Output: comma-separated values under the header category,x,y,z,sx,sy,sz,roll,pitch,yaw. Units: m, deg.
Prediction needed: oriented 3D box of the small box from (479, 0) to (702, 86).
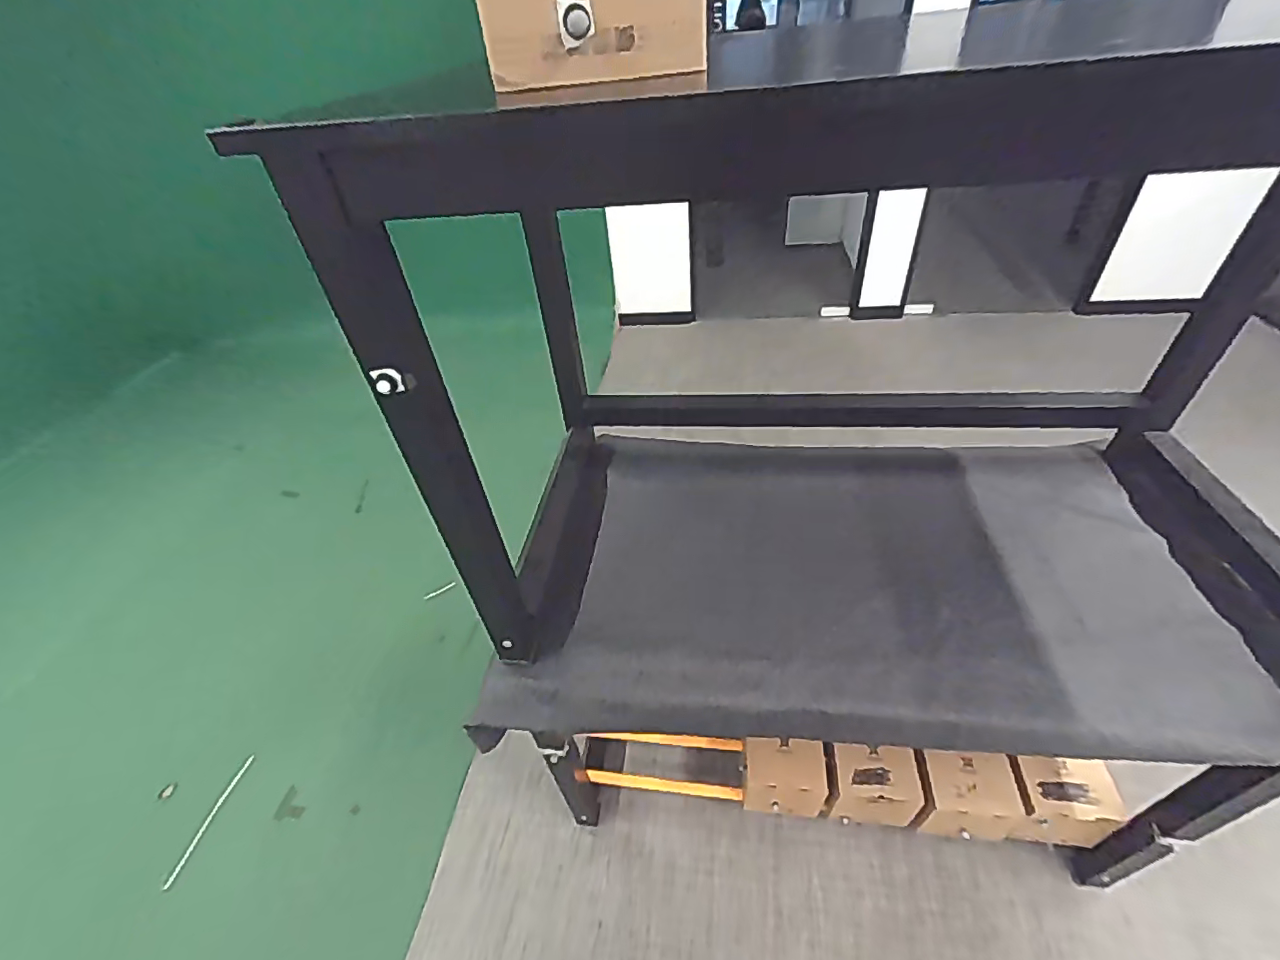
category,x,y,z,sx,sy,sz,roll,pitch,yaw
small box,-0.044,-0.429,0.430,0.168,0.176,0.179,-7,42,1
